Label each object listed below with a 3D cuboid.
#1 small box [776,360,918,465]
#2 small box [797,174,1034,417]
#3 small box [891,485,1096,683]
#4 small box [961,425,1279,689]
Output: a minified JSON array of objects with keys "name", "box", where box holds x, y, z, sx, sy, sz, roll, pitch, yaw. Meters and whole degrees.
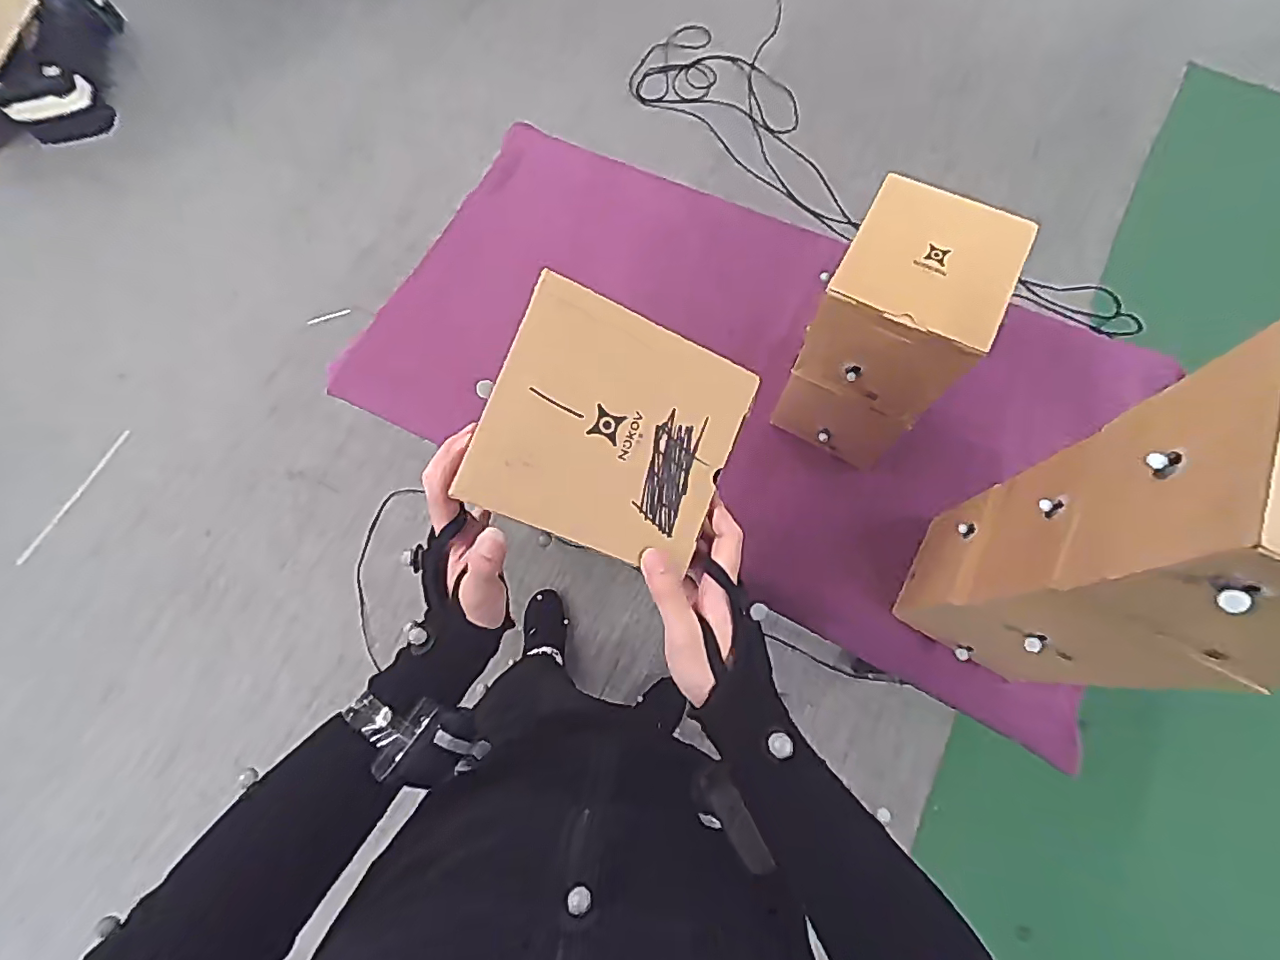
[{"name":"small box","box":[0.317,-0.151,0.790,0.168,0.176,0.179,30,76,11]},{"name":"small box","box":[0.305,-0.205,0.637,0.168,0.176,0.179,27,76,10]},{"name":"small box","box":[0.462,0.136,0.692,0.179,0.176,0.168,29,75,12]},{"name":"small box","box":[0.460,0.082,0.537,0.168,0.176,0.179,29,75,12]}]
